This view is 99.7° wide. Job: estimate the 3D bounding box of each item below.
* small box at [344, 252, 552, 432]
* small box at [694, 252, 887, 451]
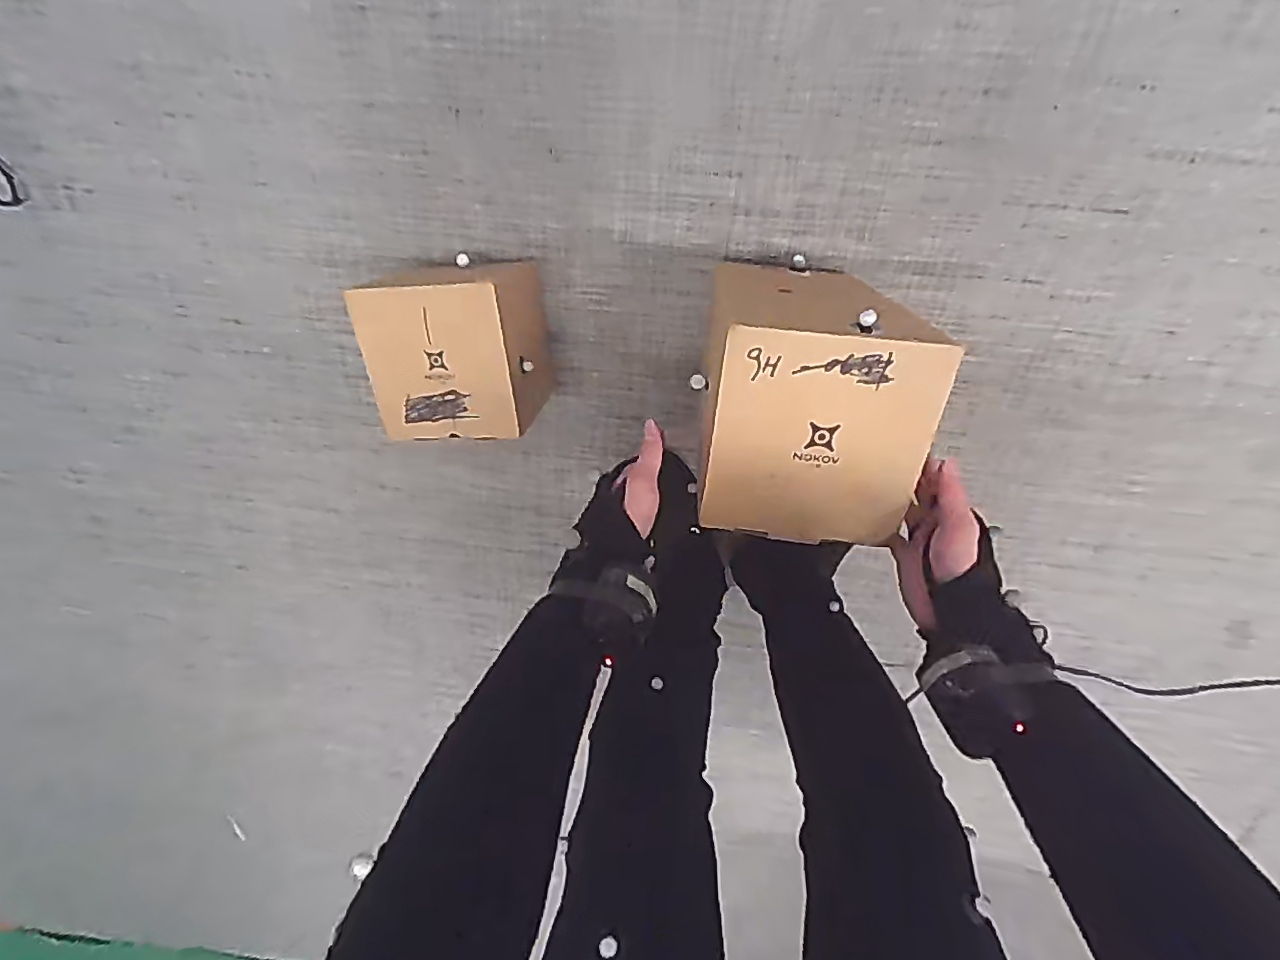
[{"bbox_3d":[-0.213,-0.172,0.659,0.168,0.176,0.179,0,119,7],"label":"small box"},{"bbox_3d":[0.156,-0.155,0.625,0.168,0.176,0.179,6,119,2],"label":"small box"}]
